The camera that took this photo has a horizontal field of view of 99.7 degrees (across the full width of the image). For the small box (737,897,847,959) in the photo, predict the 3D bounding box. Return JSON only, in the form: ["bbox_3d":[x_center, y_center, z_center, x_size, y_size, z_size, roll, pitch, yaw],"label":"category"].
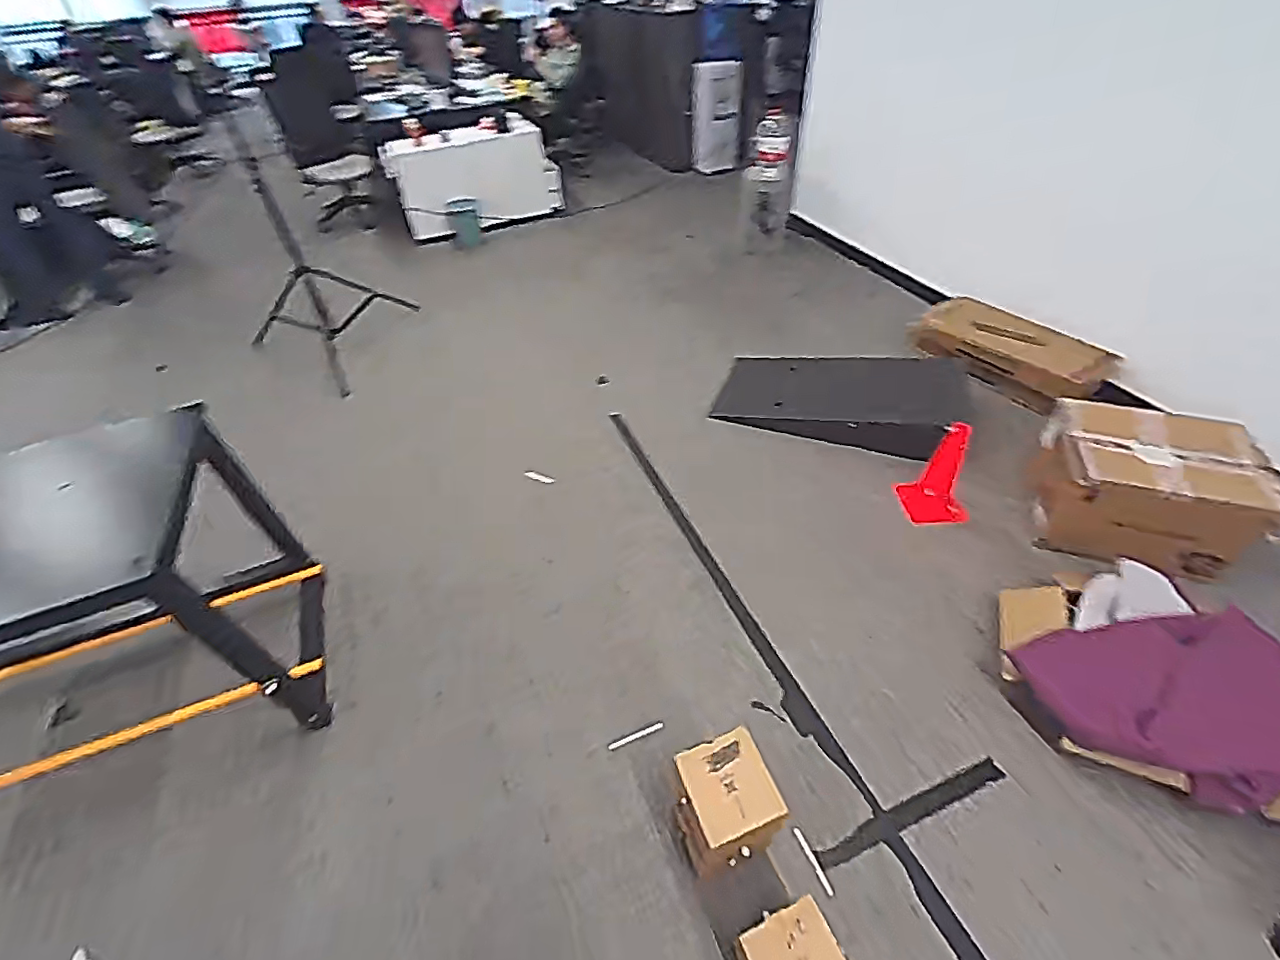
[{"bbox_3d":[0.301,0.945,1.034,0.168,0.176,0.179,-19,47,-14],"label":"small box"}]

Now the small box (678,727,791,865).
[{"bbox_3d":[0.182,0.647,1.107,0.168,0.176,0.179,-17,47,-12],"label":"small box"}]

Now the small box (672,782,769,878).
[{"bbox_3d":[0.185,0.765,1.224,0.179,0.176,0.168,-17,46,-11],"label":"small box"}]
